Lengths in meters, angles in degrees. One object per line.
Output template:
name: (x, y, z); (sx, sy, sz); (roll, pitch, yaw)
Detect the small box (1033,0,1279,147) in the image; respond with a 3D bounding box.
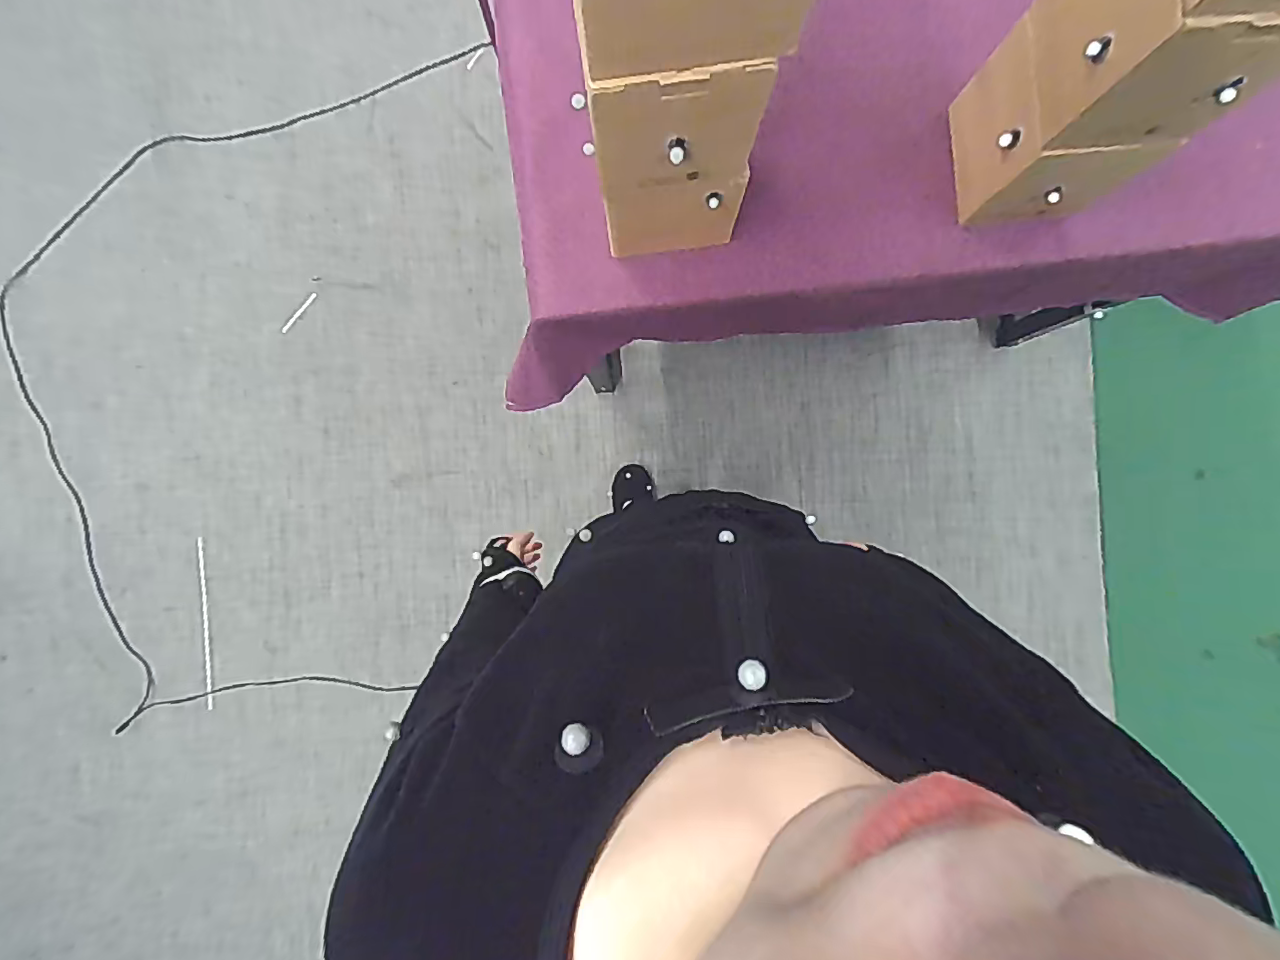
small box: (0.531, -0.460, 0.536); (0.168, 0.176, 0.179); (-2, 88, 1)

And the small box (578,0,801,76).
small box: (0.032, -0.430, 0.383); (0.179, 0.176, 0.168); (-7, 88, 0)

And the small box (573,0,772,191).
small box: (0.025, -0.420, 0.548); (0.168, 0.176, 0.179); (-8, 88, 0)

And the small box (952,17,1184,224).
small box: (0.535, -0.451, 0.699); (0.168, 0.176, 0.179); (-4, 88, 1)

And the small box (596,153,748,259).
small box: (0.033, -0.411, 0.712); (0.179, 0.176, 0.168); (-7, 88, 0)
